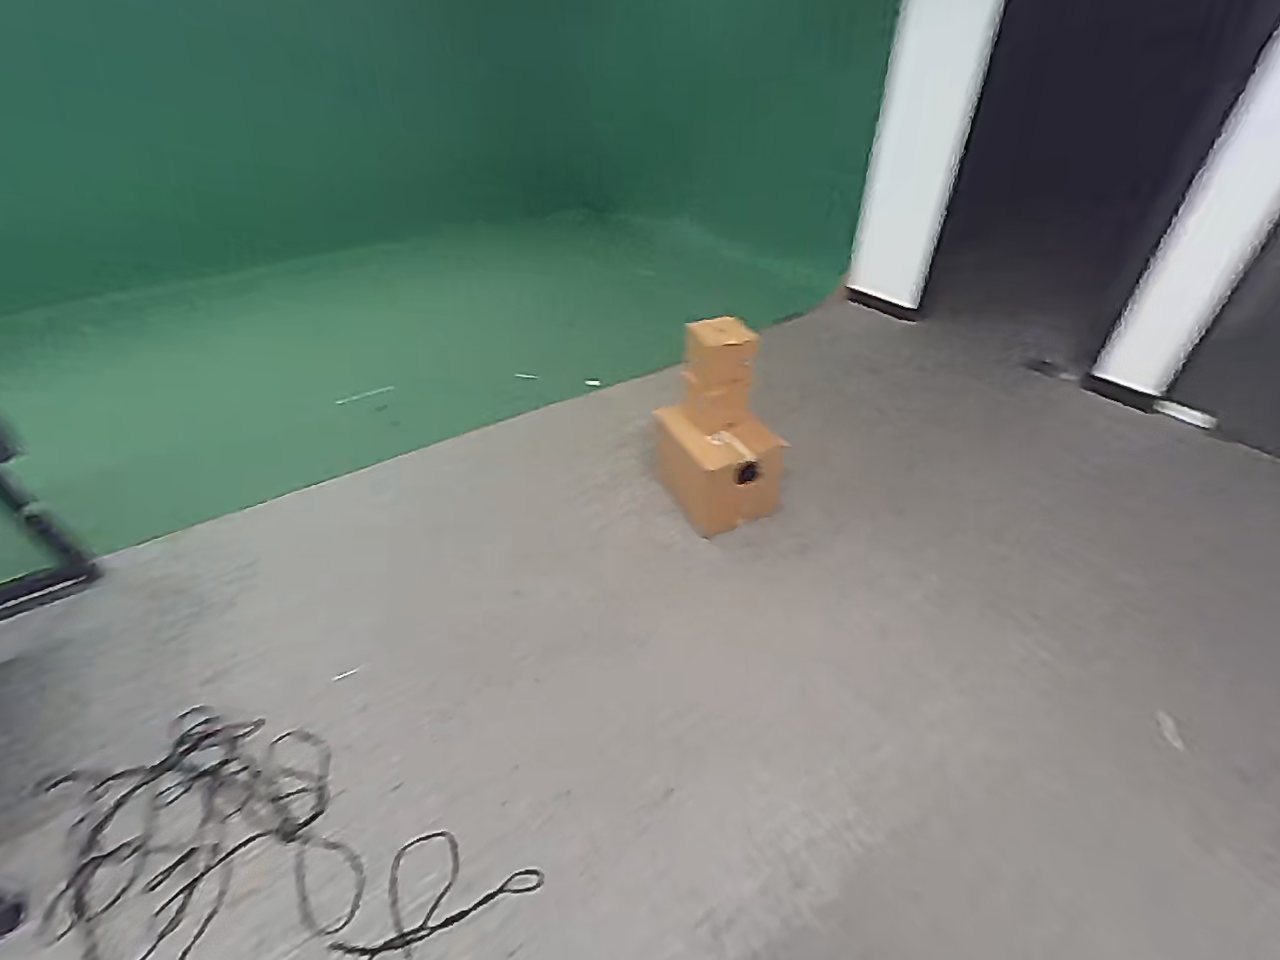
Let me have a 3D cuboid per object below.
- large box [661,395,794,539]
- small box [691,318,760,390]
[{"bbox_3d":[0.297,-0.057,1.981,0.320,0.320,0.408,-18,43,-16],"label":"large box"},{"bbox_3d":[0.274,-0.404,1.763,0.168,0.176,0.179,-13,40,-14],"label":"small box"}]
